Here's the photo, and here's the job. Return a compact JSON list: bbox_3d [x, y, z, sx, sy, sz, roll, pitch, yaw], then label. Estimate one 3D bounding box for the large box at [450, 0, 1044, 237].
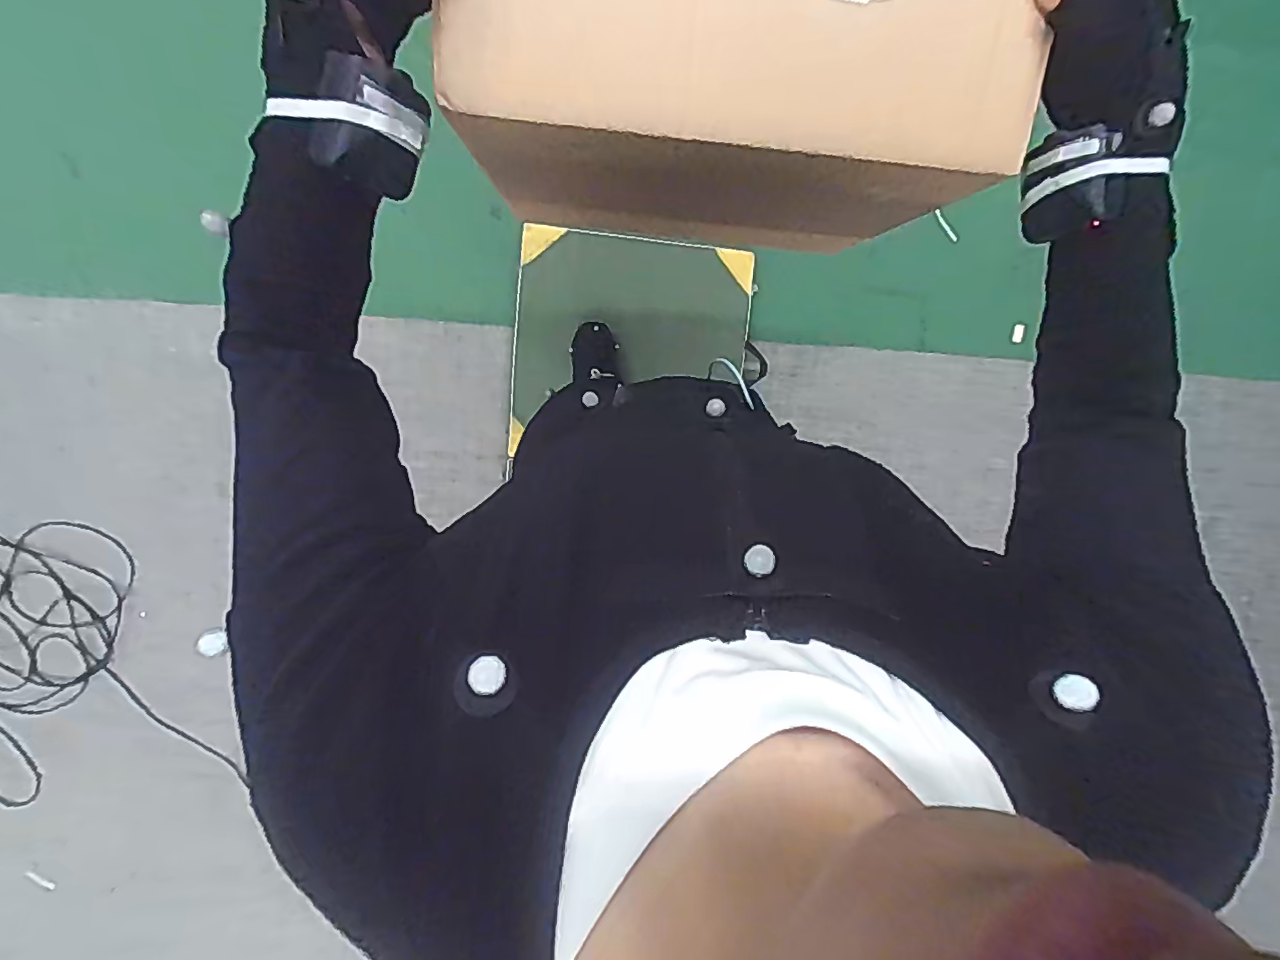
[{"bbox_3d":[0.069,-0.425,0.483,0.408,0.320,0.320,3,104,-6],"label":"large box"}]
